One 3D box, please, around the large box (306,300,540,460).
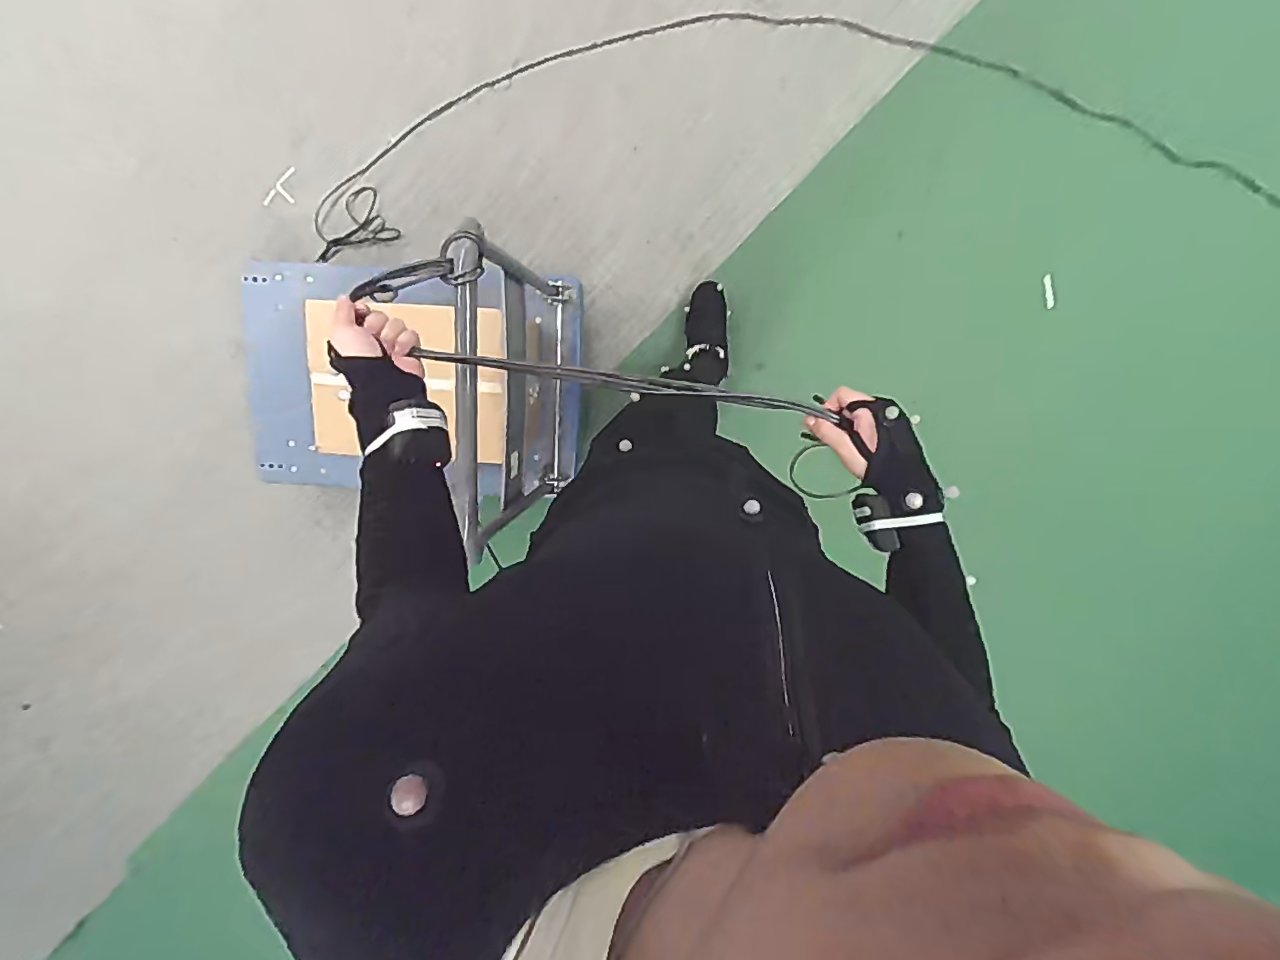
[{"bbox_3d":[-0.461,-0.230,1.236,0.408,0.320,0.320,3,101,2],"label":"large box"}]
